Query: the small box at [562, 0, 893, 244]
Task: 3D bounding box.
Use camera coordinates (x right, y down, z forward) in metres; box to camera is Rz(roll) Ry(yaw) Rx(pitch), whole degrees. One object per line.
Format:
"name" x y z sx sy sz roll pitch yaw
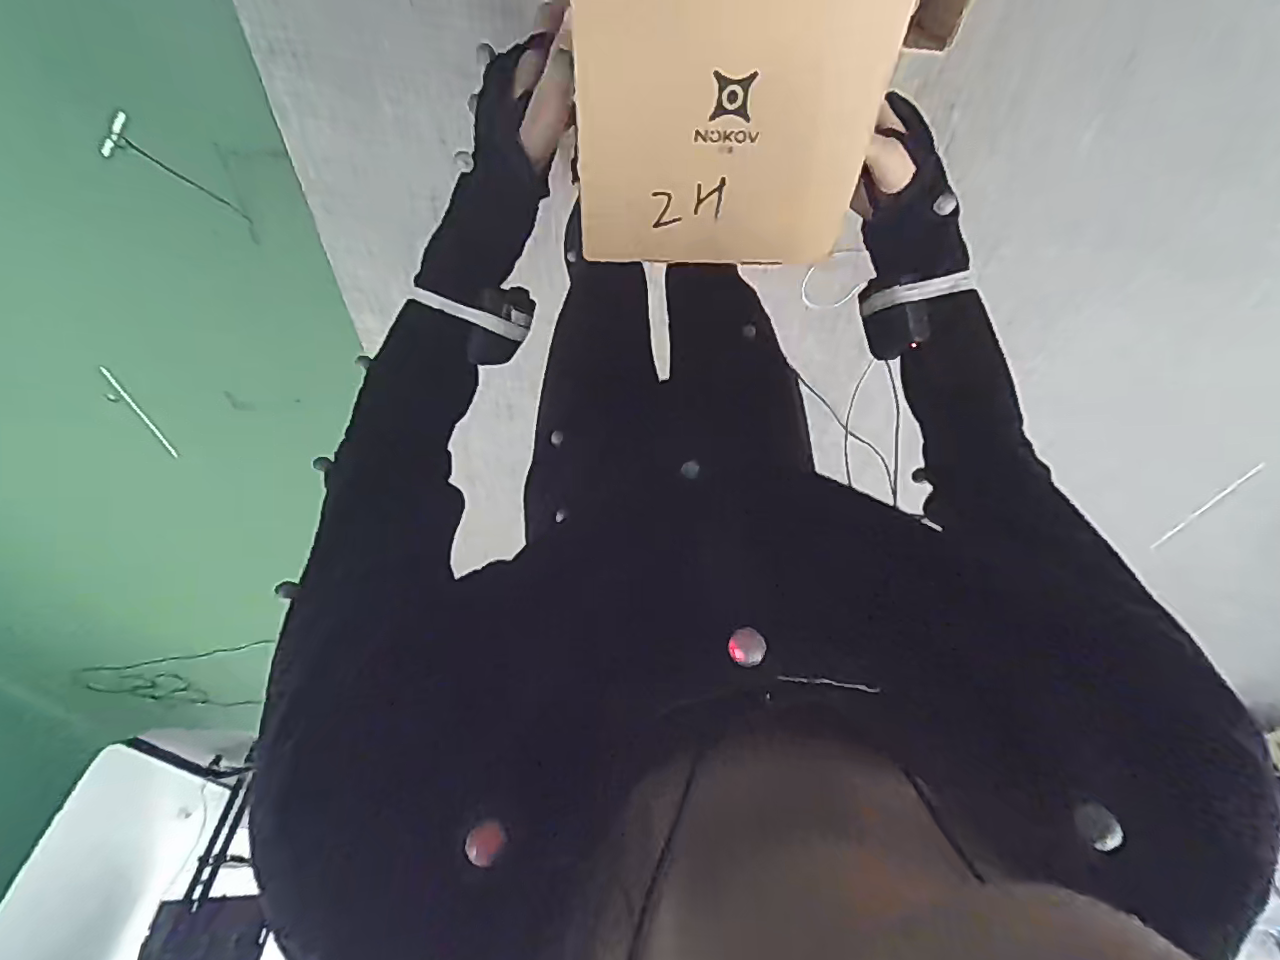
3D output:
"small box" 0.040 -0.276 0.341 0.168 0.176 0.179 2 142 -2
